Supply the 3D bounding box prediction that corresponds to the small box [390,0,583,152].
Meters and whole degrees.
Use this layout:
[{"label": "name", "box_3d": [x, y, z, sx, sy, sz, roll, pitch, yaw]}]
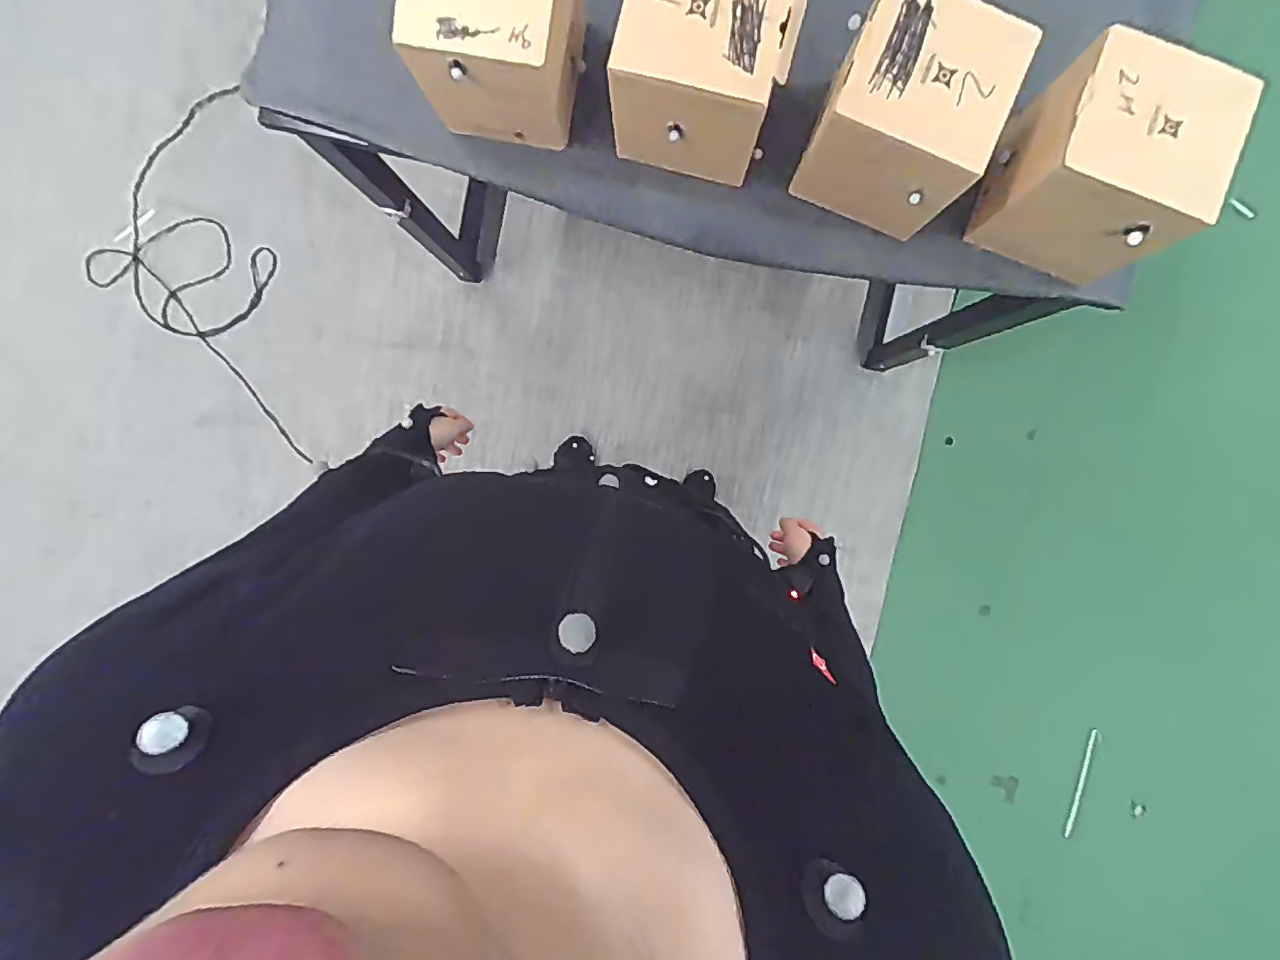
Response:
[{"label": "small box", "box_3d": [-0.167, -0.536, 0.644, 0.168, 0.176, 0.179, 10, 93, 1]}]
